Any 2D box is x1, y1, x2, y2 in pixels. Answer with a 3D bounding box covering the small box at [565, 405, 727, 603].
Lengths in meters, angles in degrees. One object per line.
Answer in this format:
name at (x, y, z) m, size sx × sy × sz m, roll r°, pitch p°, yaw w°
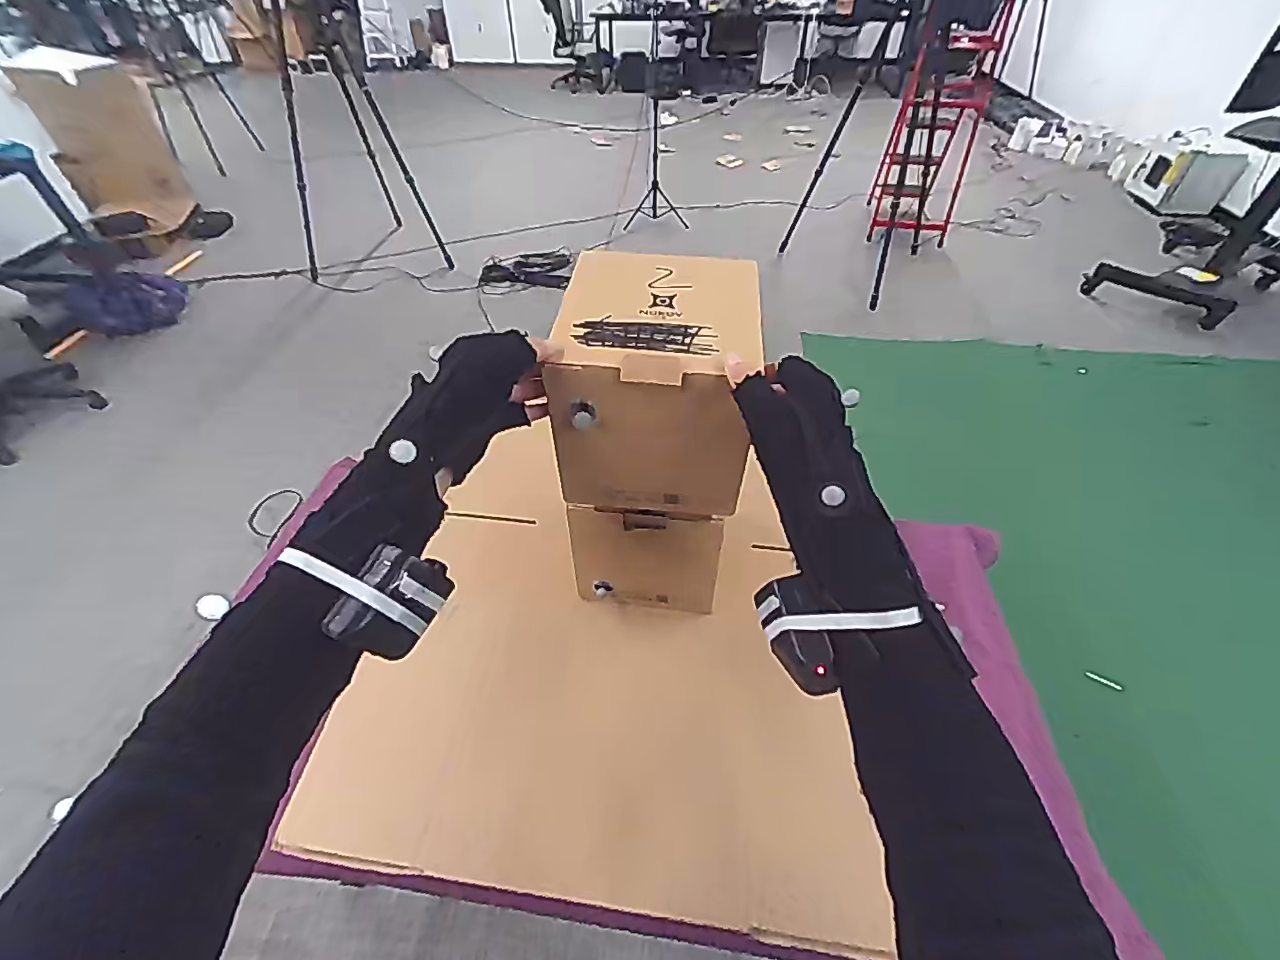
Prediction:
small box at (0.015, 0.031, 0.668) m, size 0.168 × 0.176 × 0.179 m, roll 6°, pitch 44°, yaw 6°
